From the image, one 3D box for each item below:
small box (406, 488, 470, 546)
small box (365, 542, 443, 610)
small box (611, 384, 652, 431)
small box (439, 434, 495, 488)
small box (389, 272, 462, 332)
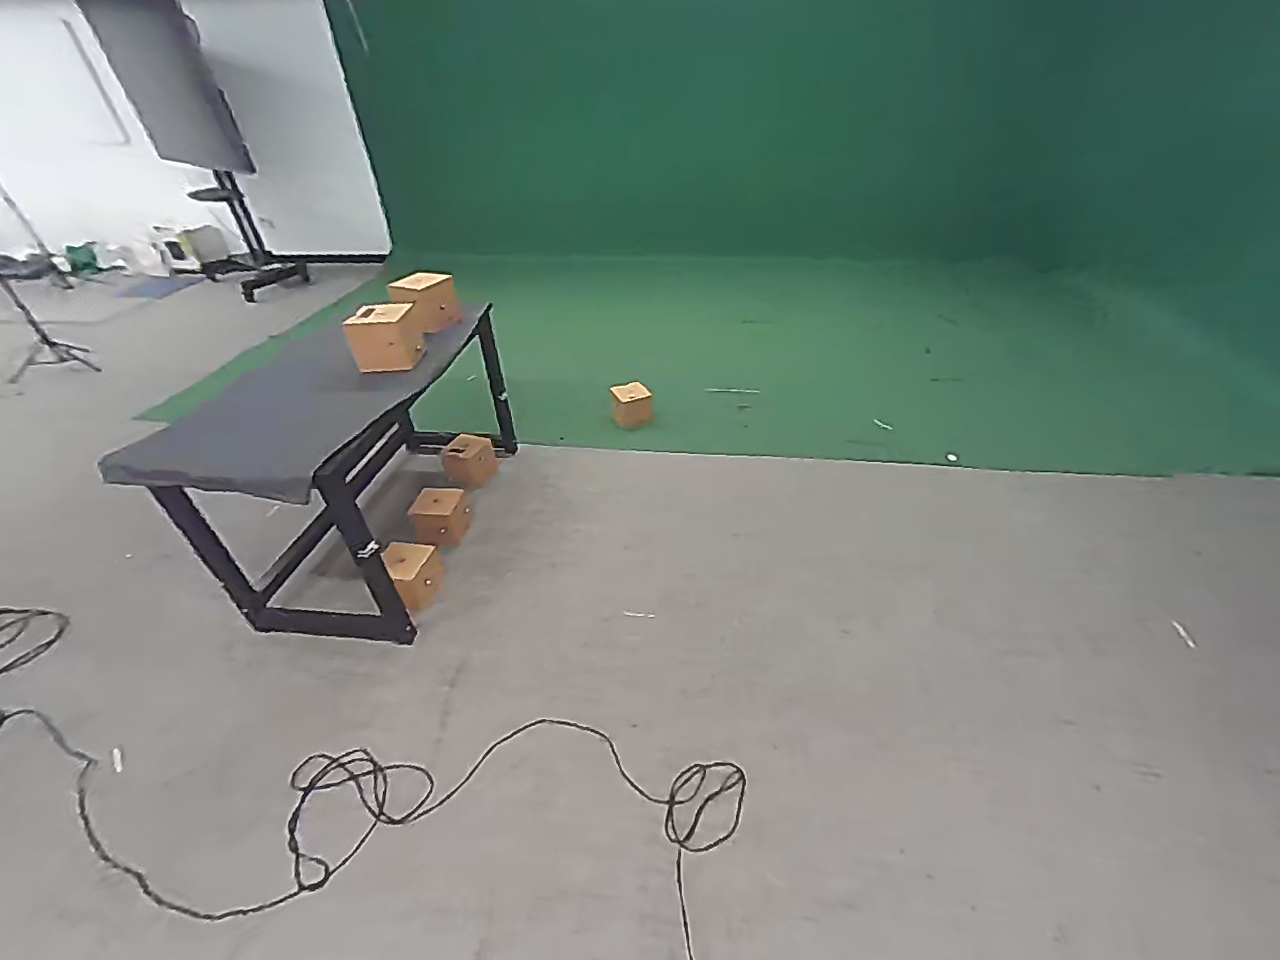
[{"bbox_3d":[-0.807,0.151,2.188,0.179,0.176,0.168,1,37,5],"label":"small box"},{"bbox_3d":[-0.836,0.346,1.938,0.179,0.176,0.168,6,39,10],"label":"small box"},{"bbox_3d":[-0.046,-0.383,2.855,0.168,0.176,0.179,-16,39,-18],"label":"small box"},{"bbox_3d":[-0.790,-0.087,2.494,0.168,0.176,0.179,12,38,16],"label":"small box"},{"bbox_3d":[-0.810,-0.676,2.062,0.179,0.176,0.168,15,41,25],"label":"small box"}]
